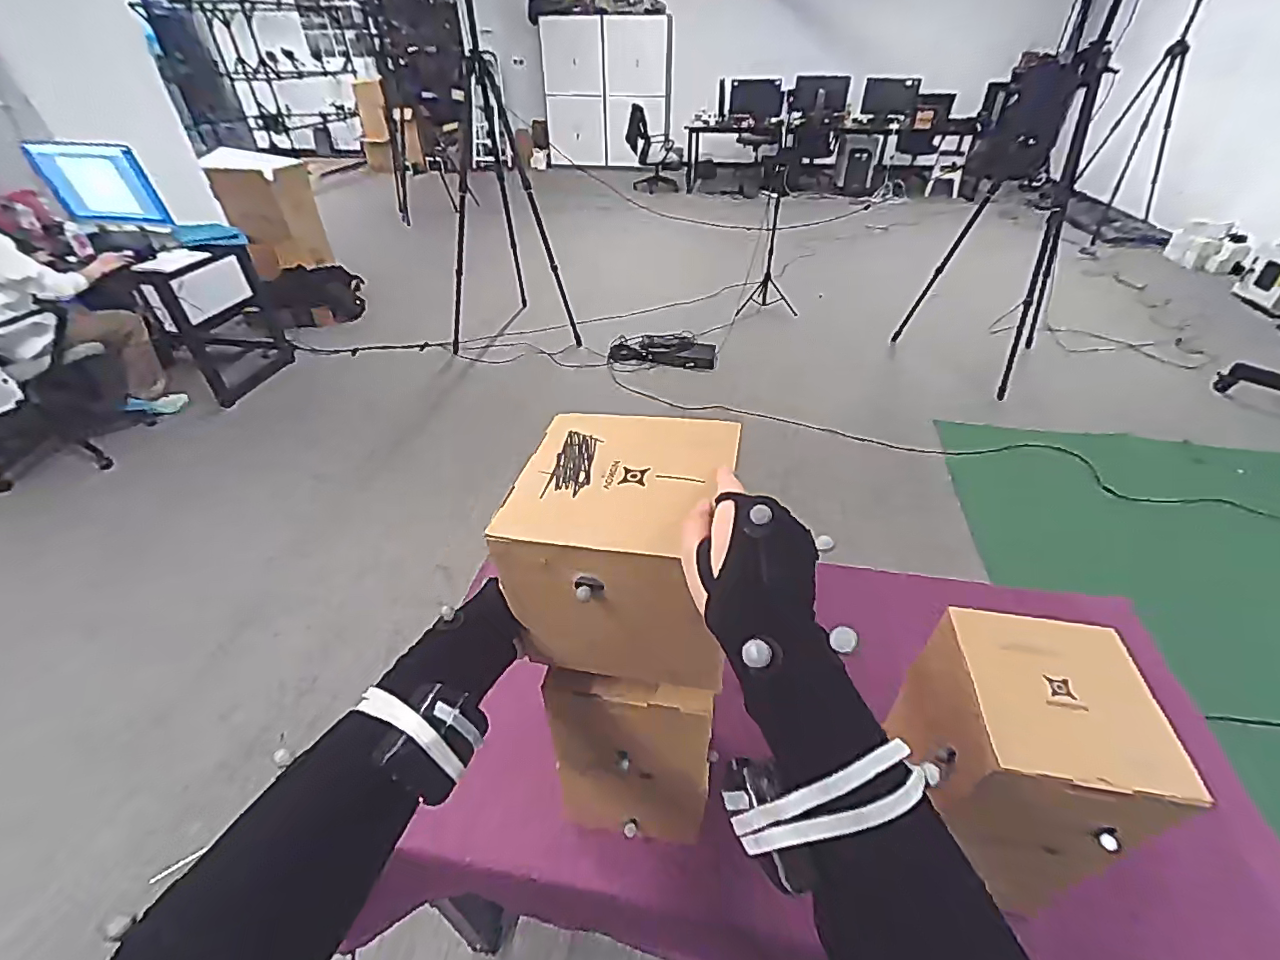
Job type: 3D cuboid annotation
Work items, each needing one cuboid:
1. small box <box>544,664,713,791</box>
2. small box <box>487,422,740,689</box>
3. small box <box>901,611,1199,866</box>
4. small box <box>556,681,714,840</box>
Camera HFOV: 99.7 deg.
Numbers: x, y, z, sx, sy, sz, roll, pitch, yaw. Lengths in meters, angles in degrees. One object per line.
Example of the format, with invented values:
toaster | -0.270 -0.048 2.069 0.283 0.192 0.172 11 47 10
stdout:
small box | 0.000 0.221 0.624 0.168 0.176 0.179 6 39 9
small box | -0.007 0.065 0.488 0.179 0.176 0.168 5 41 12
small box | 0.395 0.268 0.566 0.168 0.176 0.179 7 39 8
small box | -0.001 0.354 0.724 0.179 0.176 0.168 6 39 6
